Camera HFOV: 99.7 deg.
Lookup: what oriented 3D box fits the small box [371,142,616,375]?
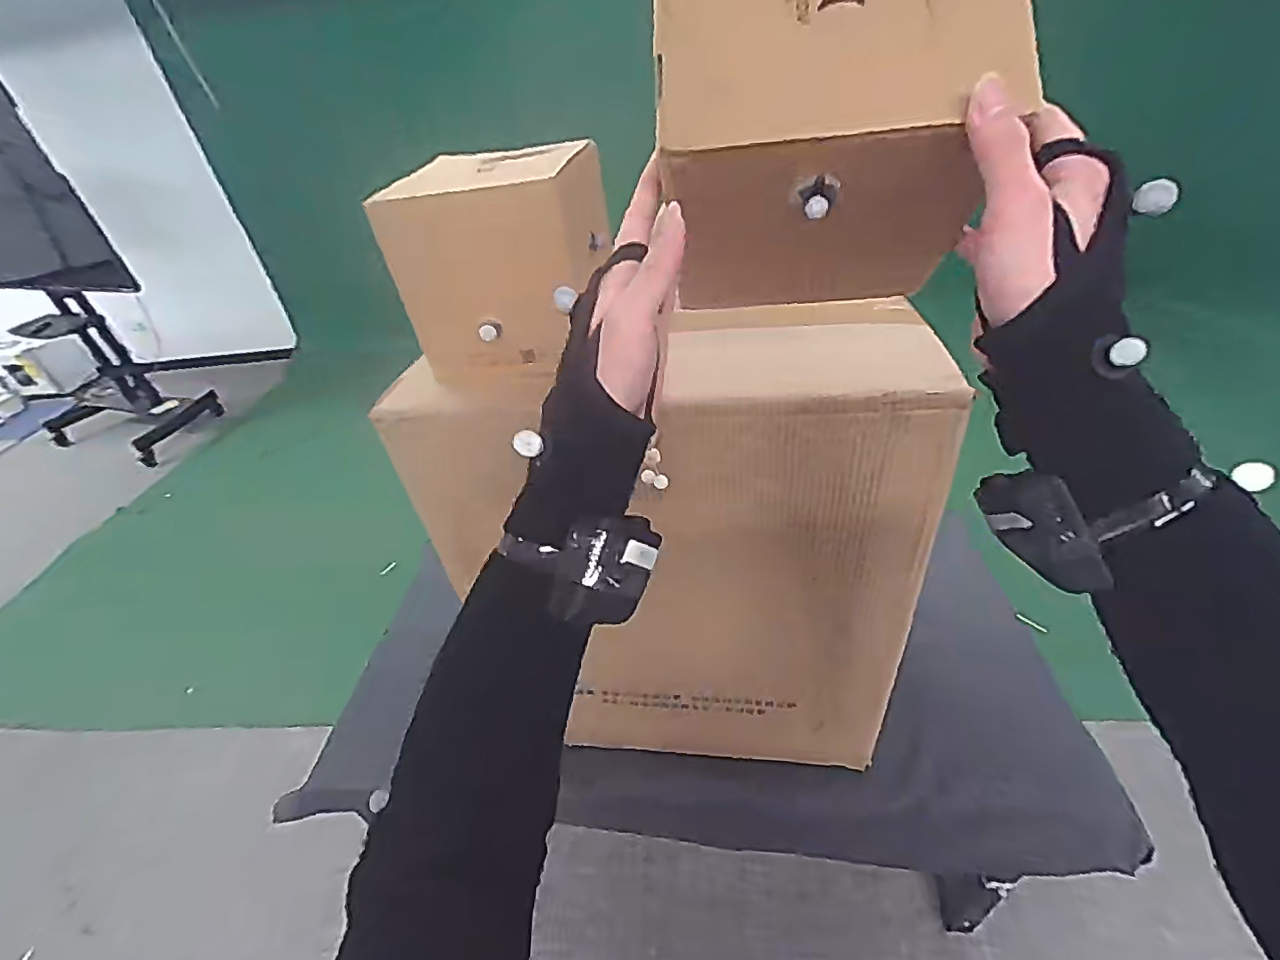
[{"bbox_3d":[-0.123,-0.222,0.544,0.168,0.176,0.179,-1,40,10],"label":"small box"}]

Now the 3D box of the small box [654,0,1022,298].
[{"bbox_3d":[0.106,-0.236,0.357,0.179,0.176,0.168,-1,80,7],"label":"small box"}]
